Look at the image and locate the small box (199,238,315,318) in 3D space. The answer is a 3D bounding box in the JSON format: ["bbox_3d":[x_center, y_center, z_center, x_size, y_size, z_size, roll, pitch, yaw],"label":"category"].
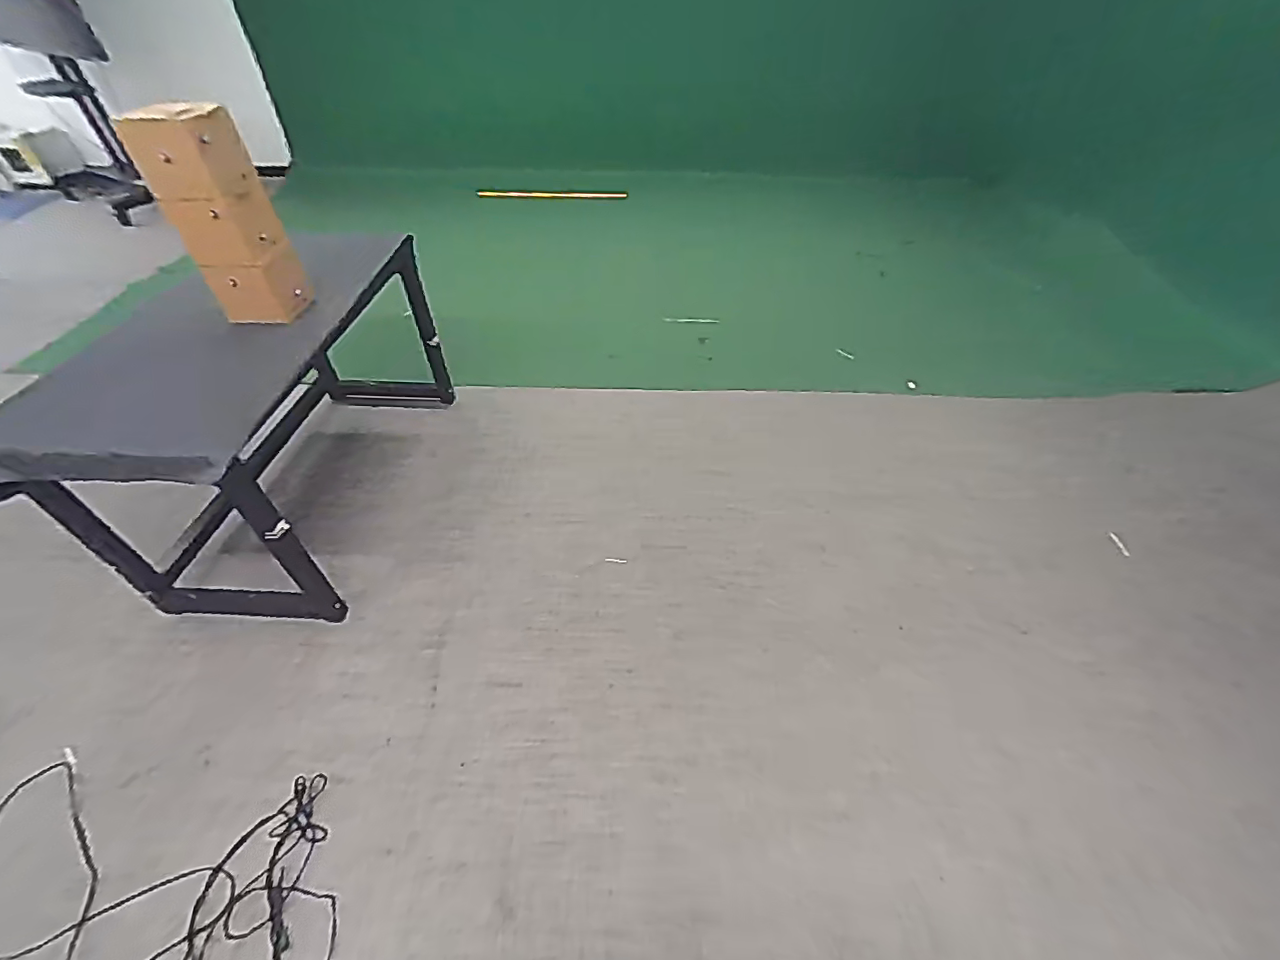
[{"bbox_3d":[-1.075,-0.574,1.535,0.179,0.176,0.168,2,46,2],"label":"small box"}]

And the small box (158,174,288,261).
[{"bbox_3d":[-1.081,-0.688,1.420,0.179,0.176,0.168,2,45,2],"label":"small box"}]
